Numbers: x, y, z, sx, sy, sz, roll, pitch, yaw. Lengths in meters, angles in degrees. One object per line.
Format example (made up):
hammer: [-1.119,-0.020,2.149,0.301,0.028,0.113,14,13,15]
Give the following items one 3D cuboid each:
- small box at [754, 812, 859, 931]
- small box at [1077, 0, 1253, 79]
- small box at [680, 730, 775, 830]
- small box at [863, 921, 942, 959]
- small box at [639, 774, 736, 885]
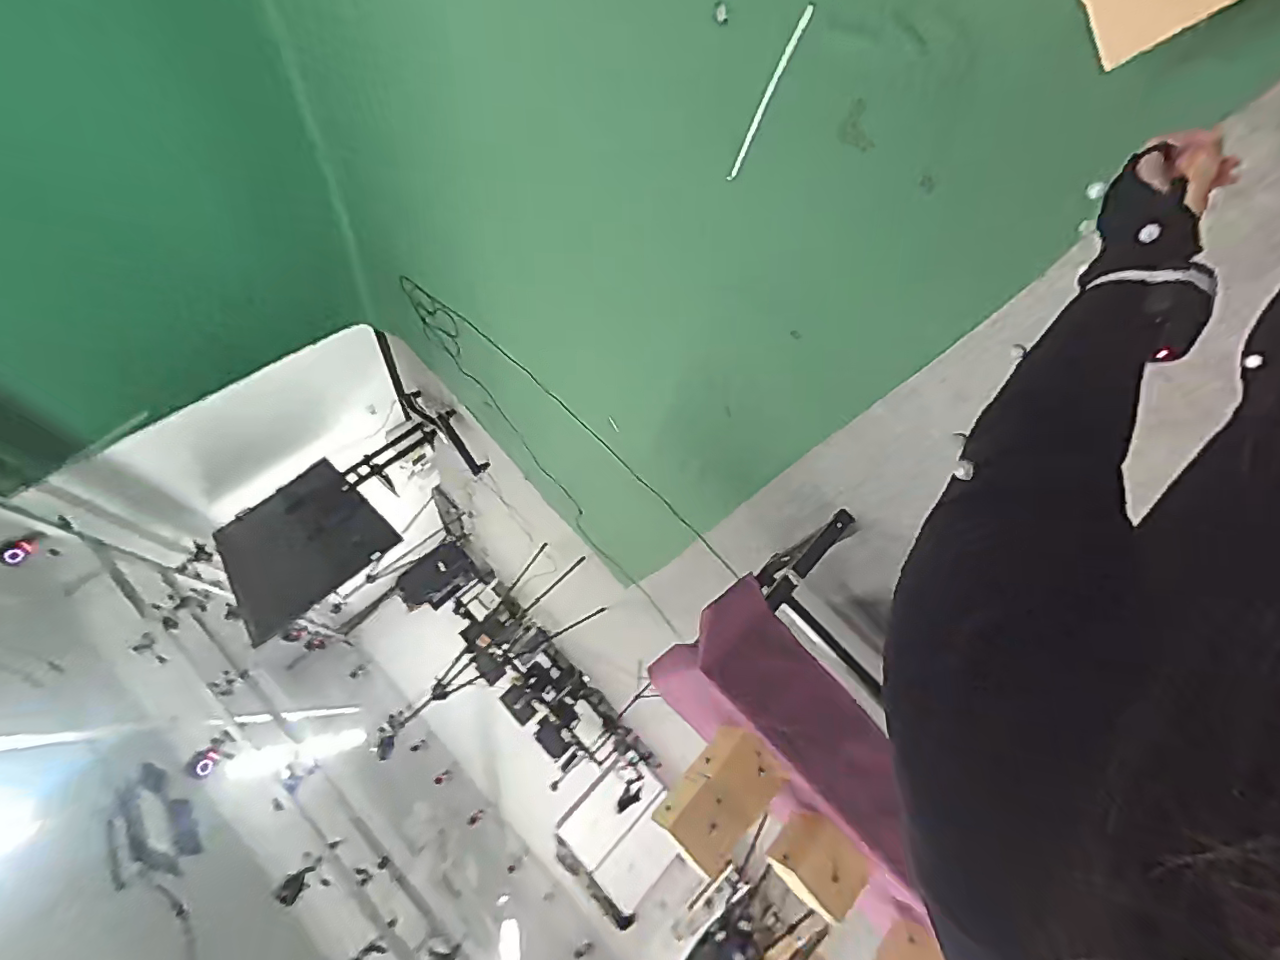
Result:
small box: [0.455,1.055,1.474,0.179,0.176,0.168,48,154,5]
small box: [0.641,-0.626,0.633,0.168,0.176,0.179,-3,122,60]
small box: [0.246,0.829,1.517,0.168,0.176,0.179,49,154,4]
small box: [0.708,1.308,1.395,0.179,0.176,0.168,49,155,6]
small box: [0.130,0.922,1.446,0.168,0.176,0.179,49,154,6]
